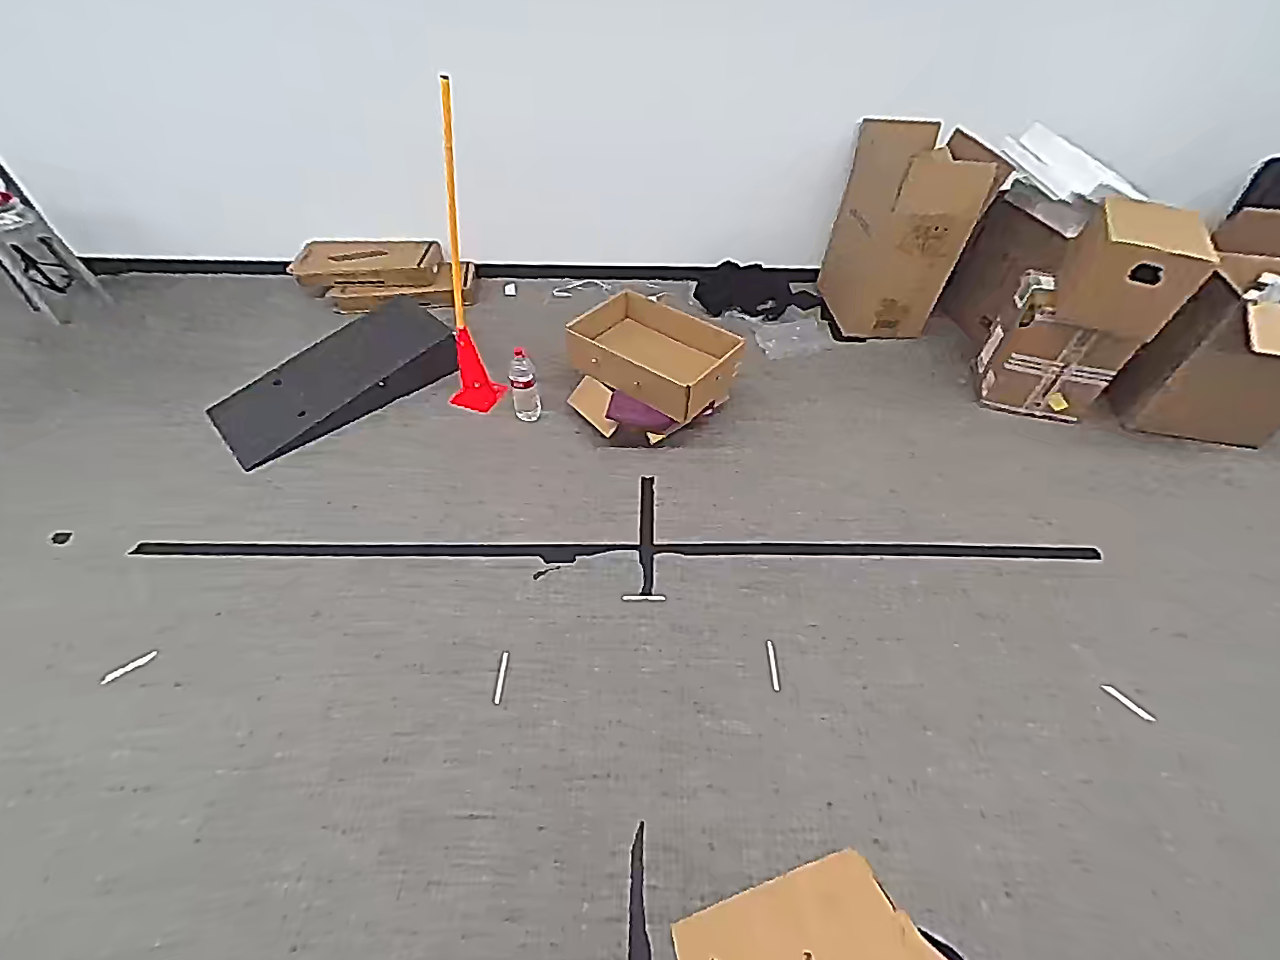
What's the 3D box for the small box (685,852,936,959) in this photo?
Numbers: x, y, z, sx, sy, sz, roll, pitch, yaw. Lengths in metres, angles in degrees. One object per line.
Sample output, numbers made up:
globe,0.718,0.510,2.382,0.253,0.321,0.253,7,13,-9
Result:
small box,0.152,0.441,0.405,0.179,0.176,0.168,-19,8,-3
